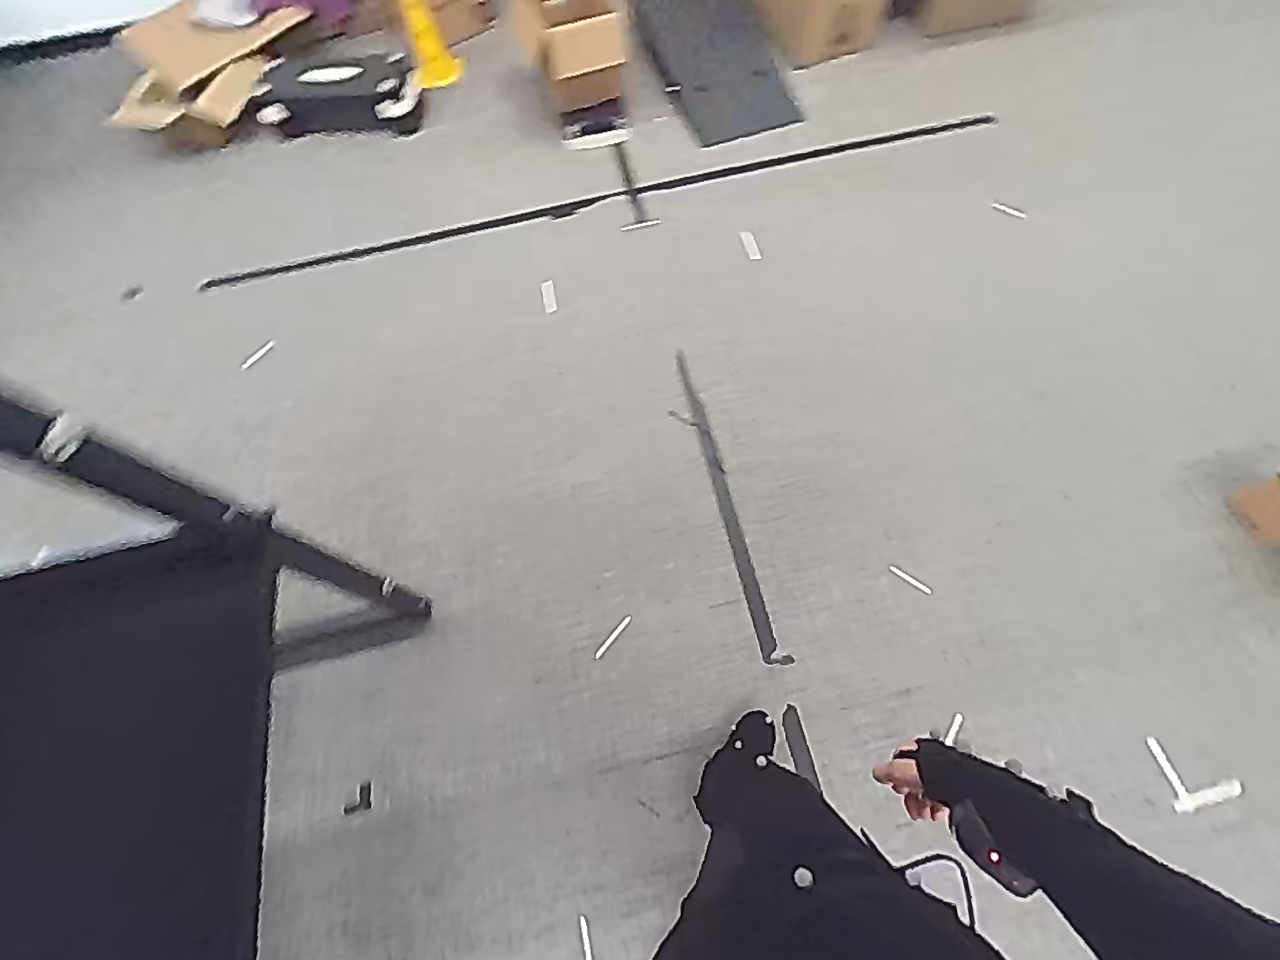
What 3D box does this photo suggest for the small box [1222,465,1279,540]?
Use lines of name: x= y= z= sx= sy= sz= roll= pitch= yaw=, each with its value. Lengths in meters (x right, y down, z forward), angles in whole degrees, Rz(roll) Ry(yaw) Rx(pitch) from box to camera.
small box: x=1.801 y=0.048 z=1.490 sx=0.179 sy=0.176 sz=0.168 roll=-14 pitch=65 yaw=-4
